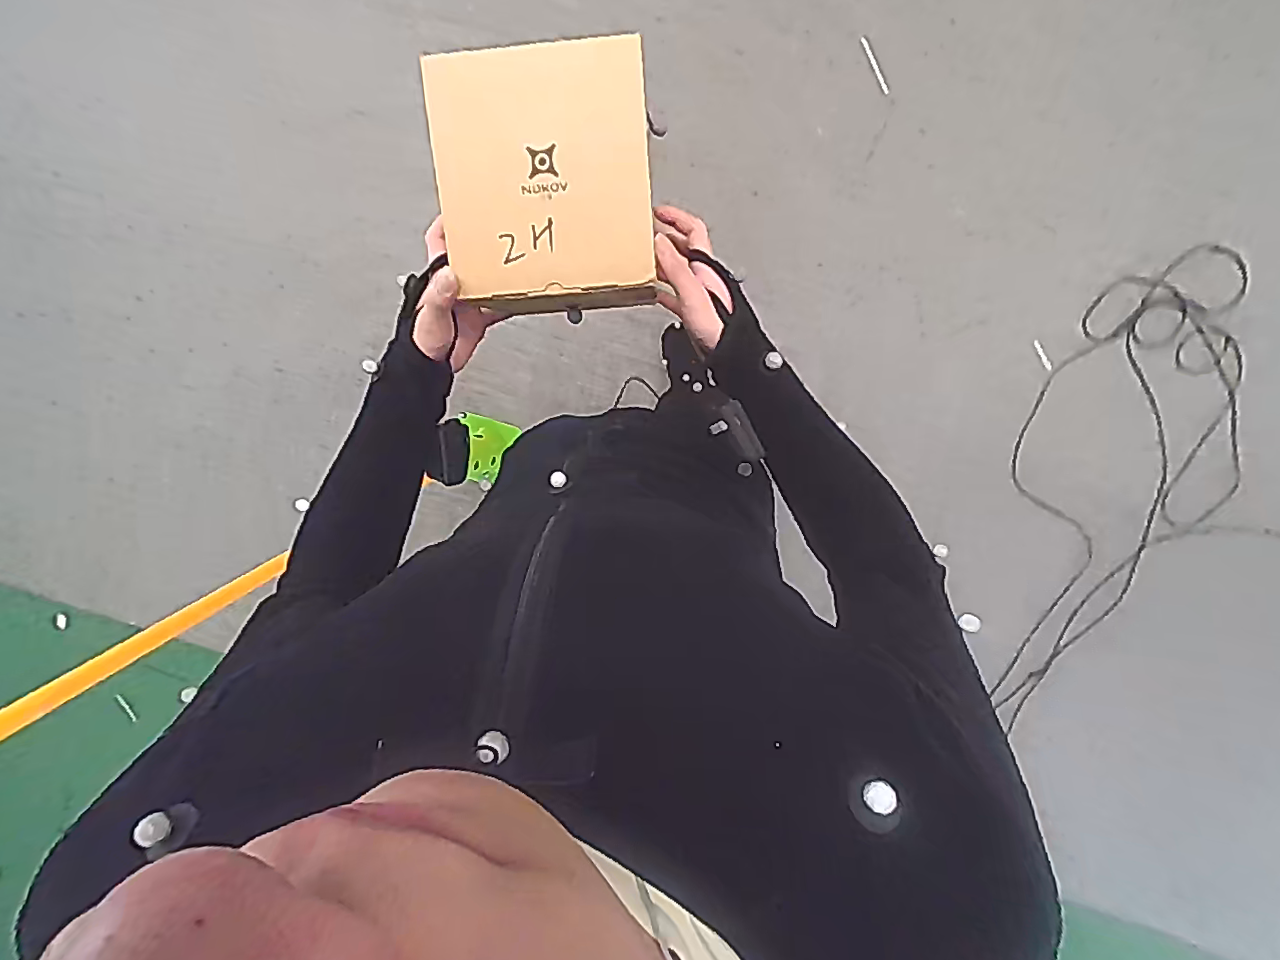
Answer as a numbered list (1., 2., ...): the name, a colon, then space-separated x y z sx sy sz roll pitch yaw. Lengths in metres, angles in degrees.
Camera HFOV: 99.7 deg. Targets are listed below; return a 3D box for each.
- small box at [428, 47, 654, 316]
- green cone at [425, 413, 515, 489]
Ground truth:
1. small box: -0.074 -0.253 0.501 0.168 0.176 0.179 -3 104 2
2. green cone: -0.497 -0.047 1.468 0.202 0.368 0.200 17 103 -2
